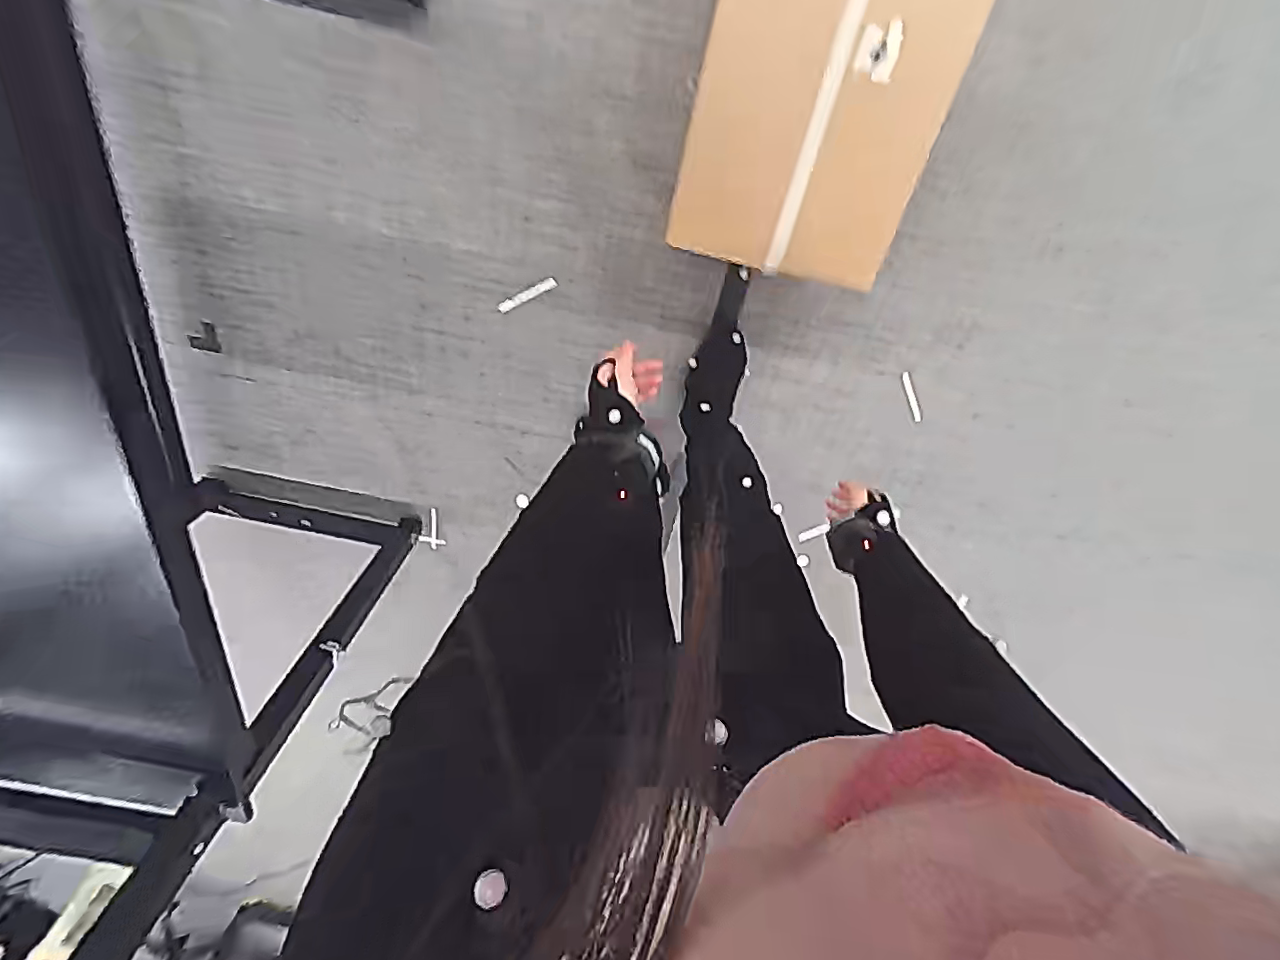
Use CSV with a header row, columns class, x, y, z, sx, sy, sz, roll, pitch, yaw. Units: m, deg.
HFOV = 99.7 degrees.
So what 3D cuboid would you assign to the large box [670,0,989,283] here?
class,x,y,z,sx,sy,sz,roll,pitch,yaw
large box,0.239,-0.555,0.808,0.320,0.320,0.408,12,121,-4
